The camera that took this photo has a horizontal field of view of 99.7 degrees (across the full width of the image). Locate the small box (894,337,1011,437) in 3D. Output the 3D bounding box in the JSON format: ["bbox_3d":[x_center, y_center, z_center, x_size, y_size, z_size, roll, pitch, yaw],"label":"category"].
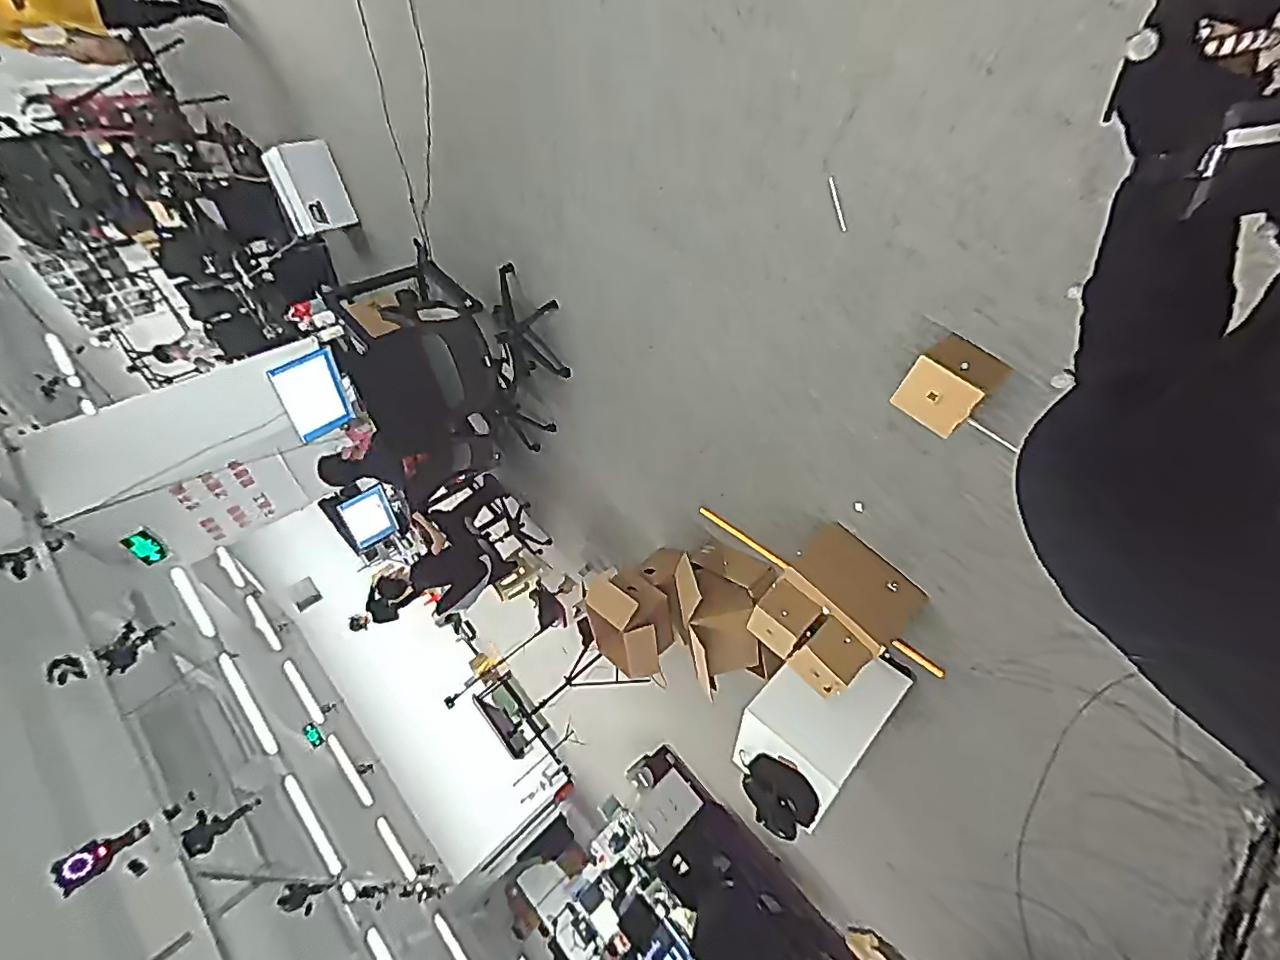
[{"bbox_3d":[0.812,-0.249,1.407,0.179,0.176,0.168,41,147,21],"label":"small box"}]
